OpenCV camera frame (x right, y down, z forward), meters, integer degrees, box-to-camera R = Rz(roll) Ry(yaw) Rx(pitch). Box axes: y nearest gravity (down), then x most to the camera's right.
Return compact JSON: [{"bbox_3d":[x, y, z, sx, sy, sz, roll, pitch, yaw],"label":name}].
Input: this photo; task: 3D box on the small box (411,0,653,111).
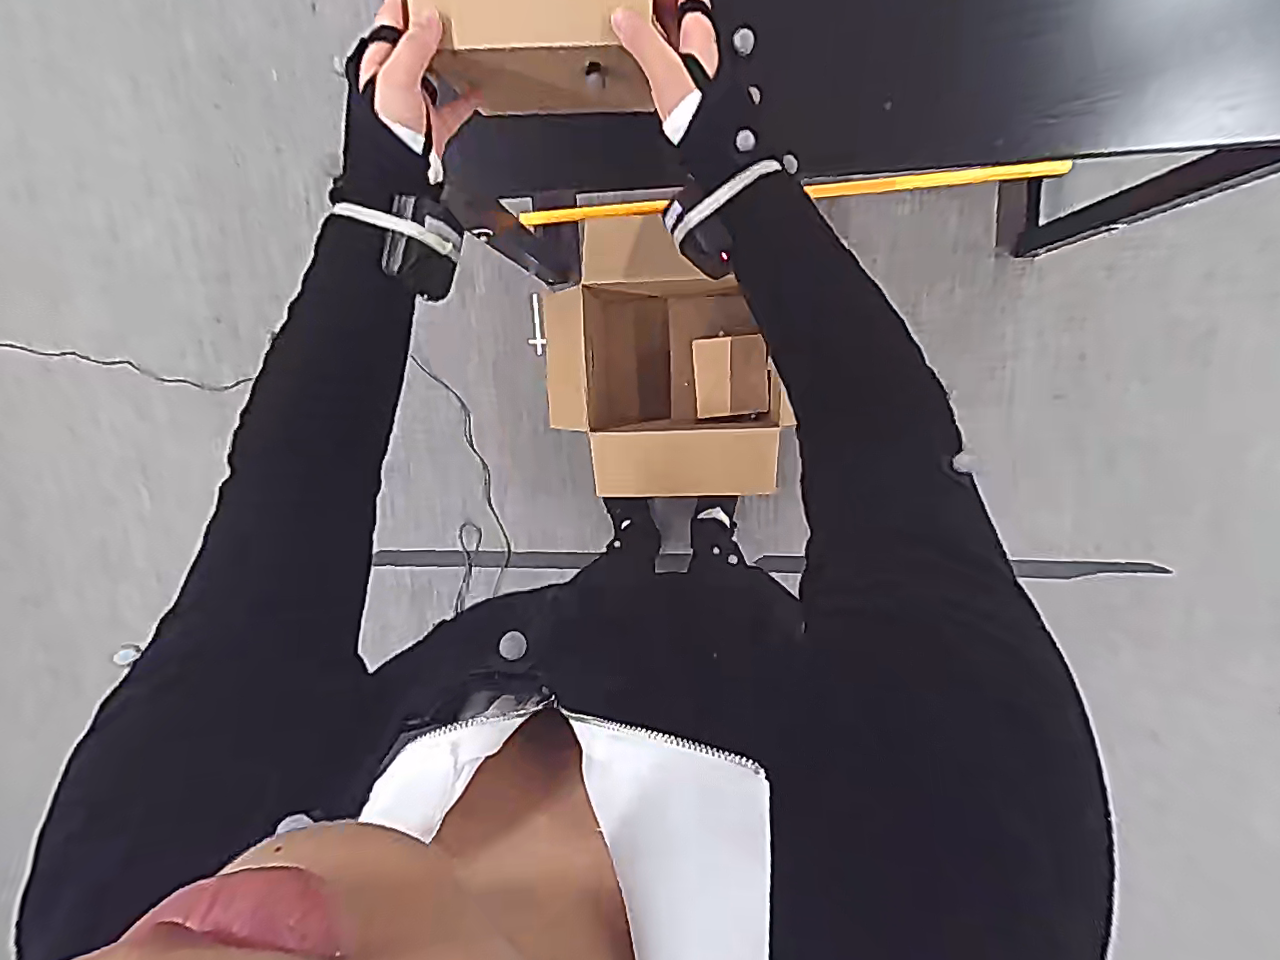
[{"bbox_3d":[-0.077,-0.422,0.443,0.179,0.176,0.168,0,110,2],"label":"small box"}]
